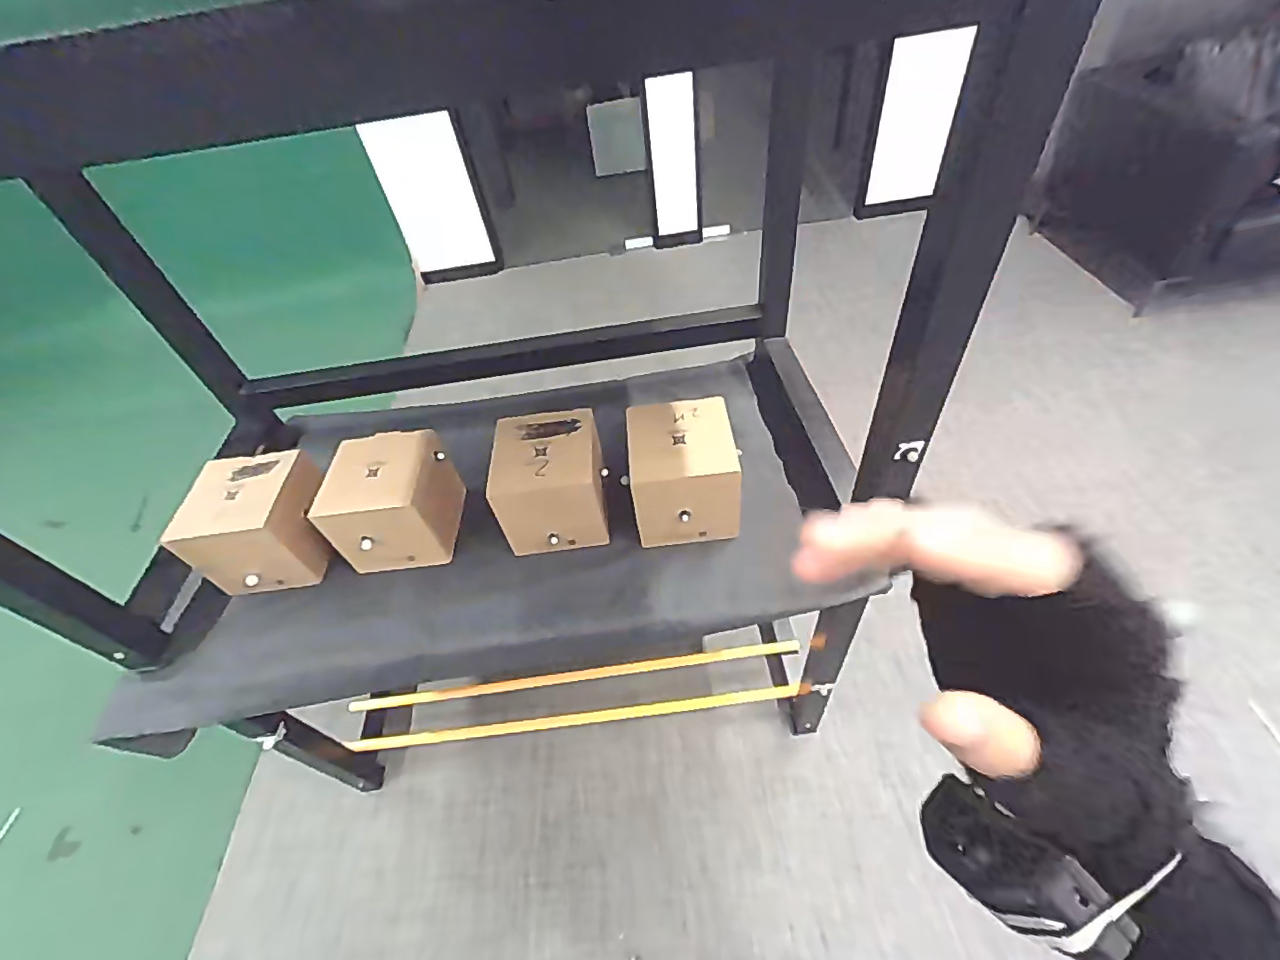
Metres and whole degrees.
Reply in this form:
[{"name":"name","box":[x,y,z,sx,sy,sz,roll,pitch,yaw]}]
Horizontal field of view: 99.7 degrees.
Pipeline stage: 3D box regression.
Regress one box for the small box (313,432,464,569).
[{"name":"small box","box":[-0.424,0.044,0.949,0.168,0.176,0.179,-7,47,2]}]

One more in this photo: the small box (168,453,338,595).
[{"name":"small box","box":[-0.649,0.078,0.947,0.168,0.176,0.179,-8,48,1]}]

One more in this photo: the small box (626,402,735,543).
[{"name":"small box","box":[0.069,-0.006,0.917,0.168,0.176,0.179,-6,47,2]}]
